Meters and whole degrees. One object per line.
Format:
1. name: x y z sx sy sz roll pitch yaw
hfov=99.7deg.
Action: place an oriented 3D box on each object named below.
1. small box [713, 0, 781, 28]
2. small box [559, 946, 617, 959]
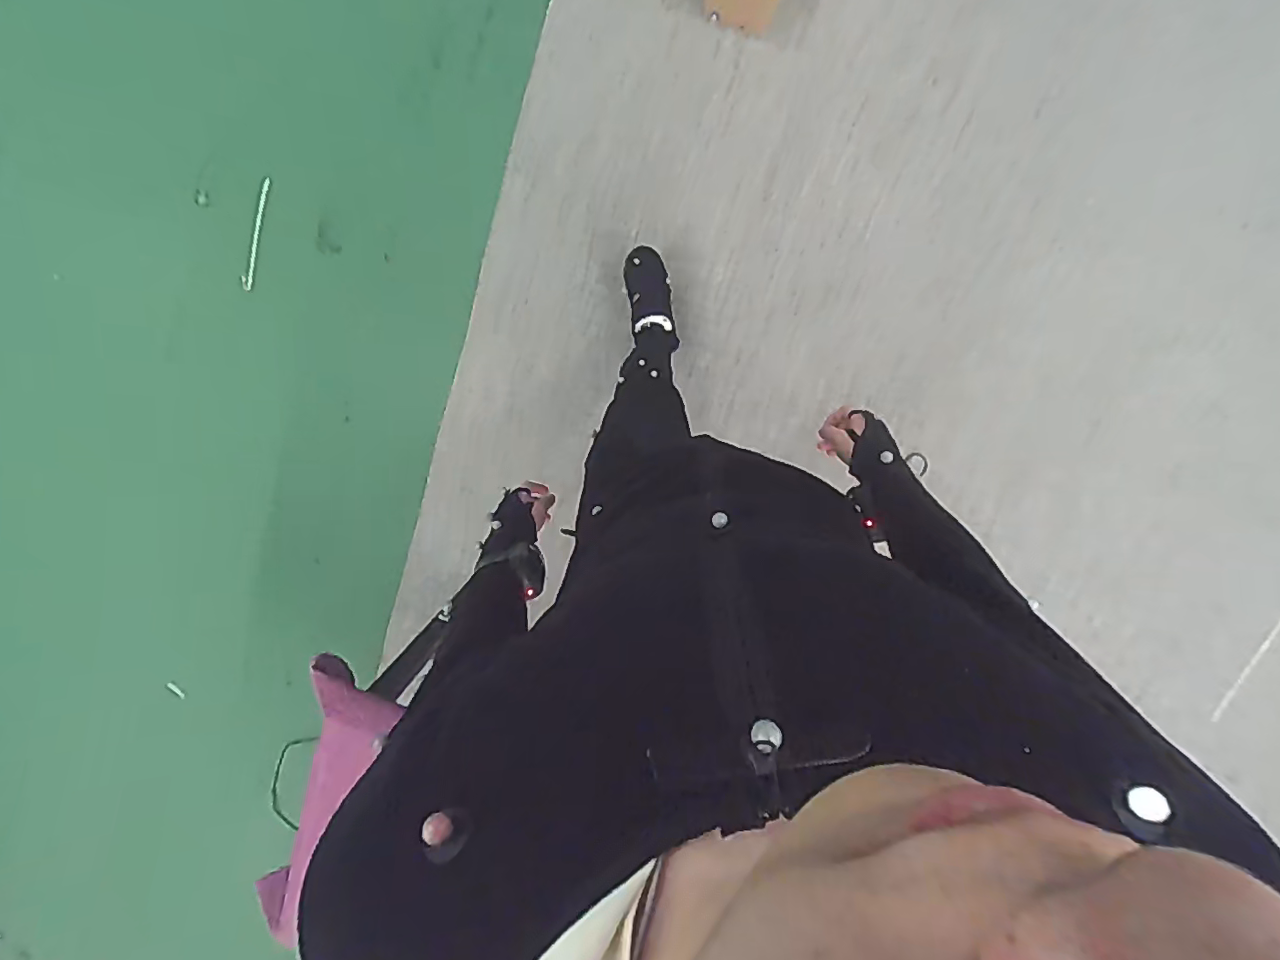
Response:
1. small box: 0.263 -1.183 1.220 0.168 0.176 0.179 21 103 0
2. small box: -0.103 1.052 1.037 0.179 0.176 0.168 18 104 0
